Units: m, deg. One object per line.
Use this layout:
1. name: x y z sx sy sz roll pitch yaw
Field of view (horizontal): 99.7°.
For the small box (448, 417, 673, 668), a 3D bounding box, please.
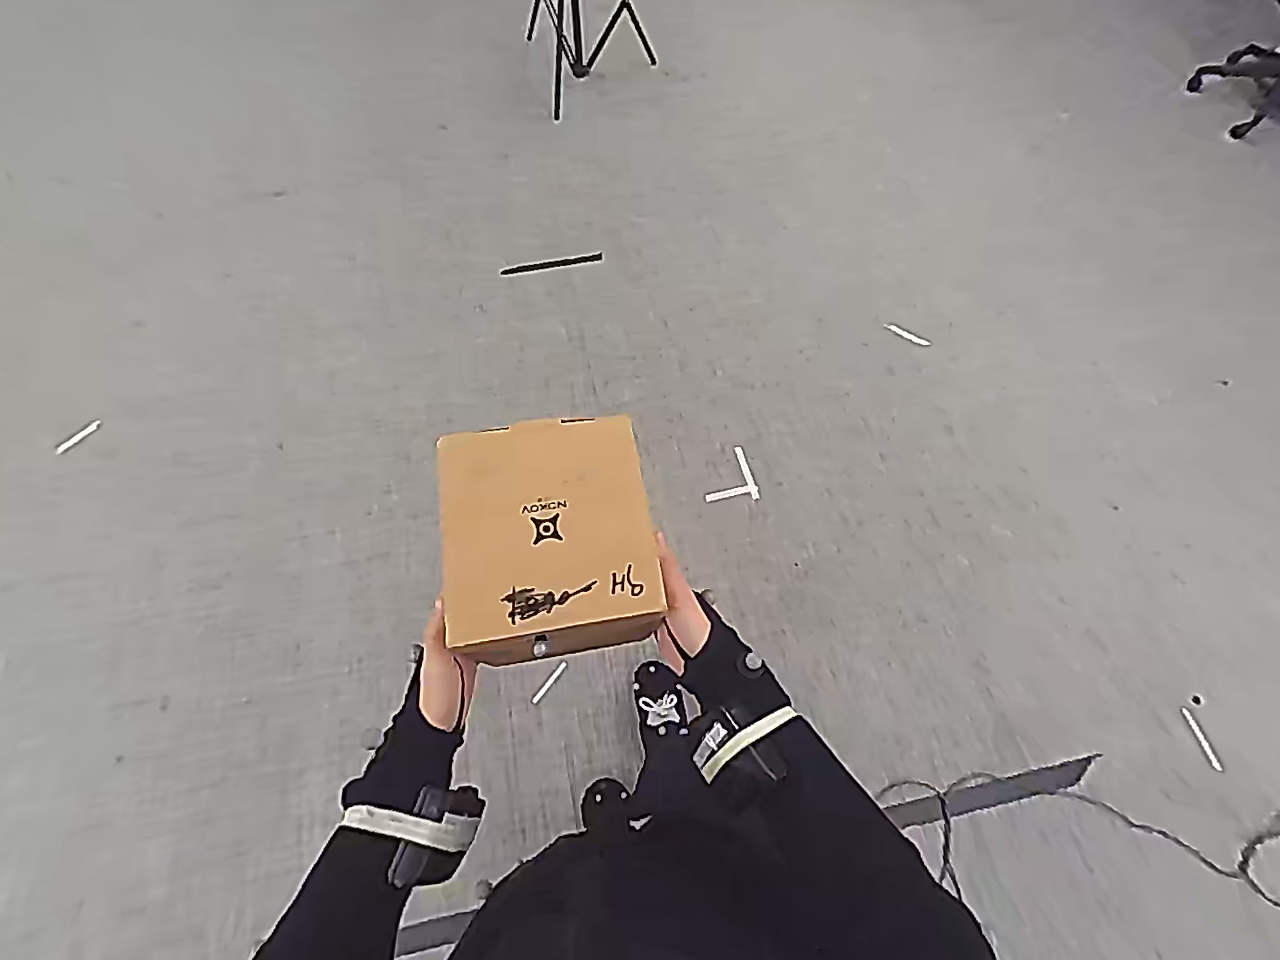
1. small box: -0.075 0.065 0.504 0.168 0.176 0.179 -8 67 -8
